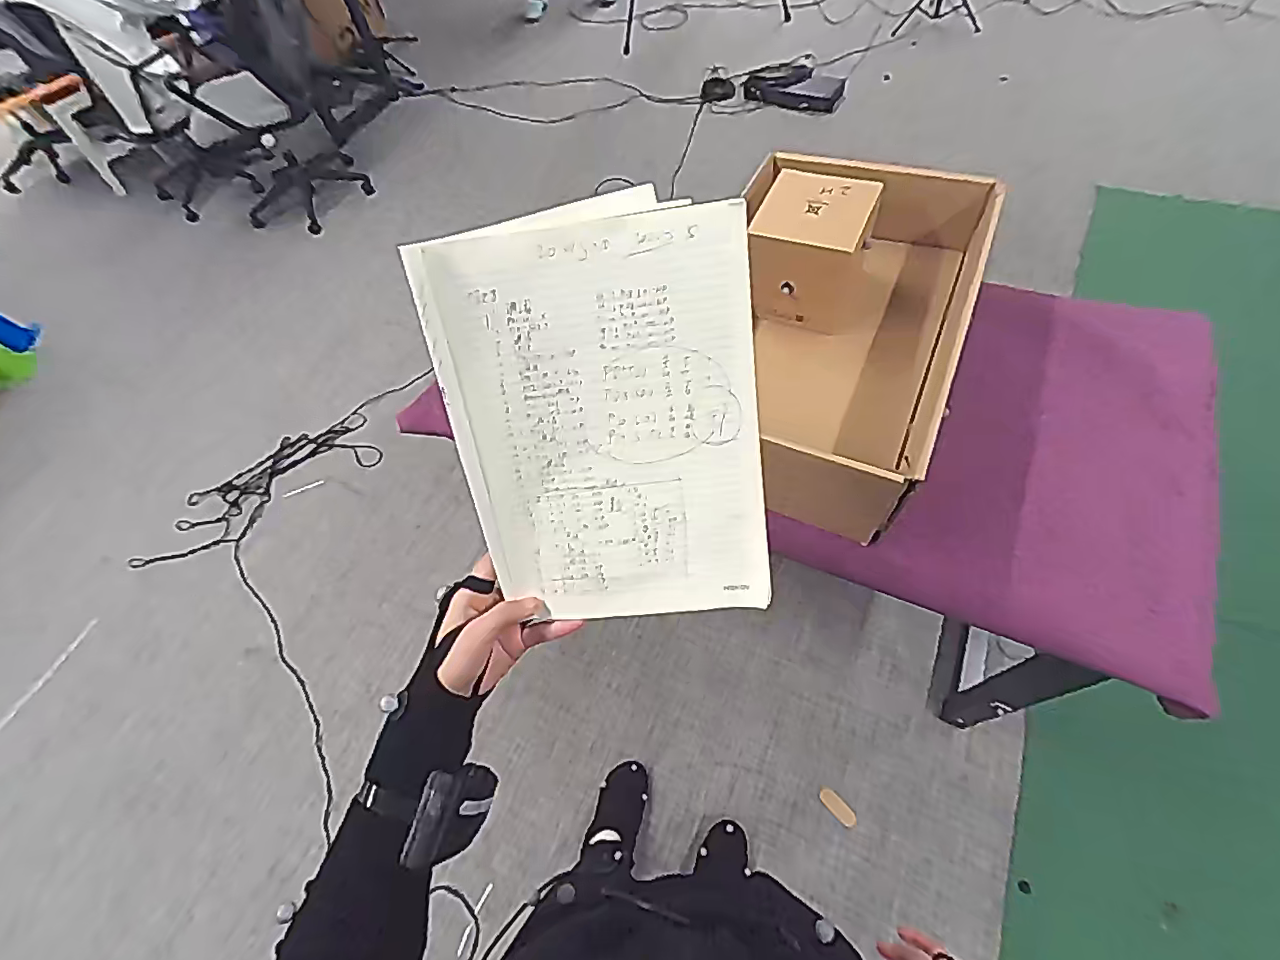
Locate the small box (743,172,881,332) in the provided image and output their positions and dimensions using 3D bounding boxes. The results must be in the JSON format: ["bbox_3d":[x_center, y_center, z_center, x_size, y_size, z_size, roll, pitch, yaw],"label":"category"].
[{"bbox_3d":[0.282,-0.379,0.909,0.168,0.176,0.179,21,65,19],"label":"small box"}]
